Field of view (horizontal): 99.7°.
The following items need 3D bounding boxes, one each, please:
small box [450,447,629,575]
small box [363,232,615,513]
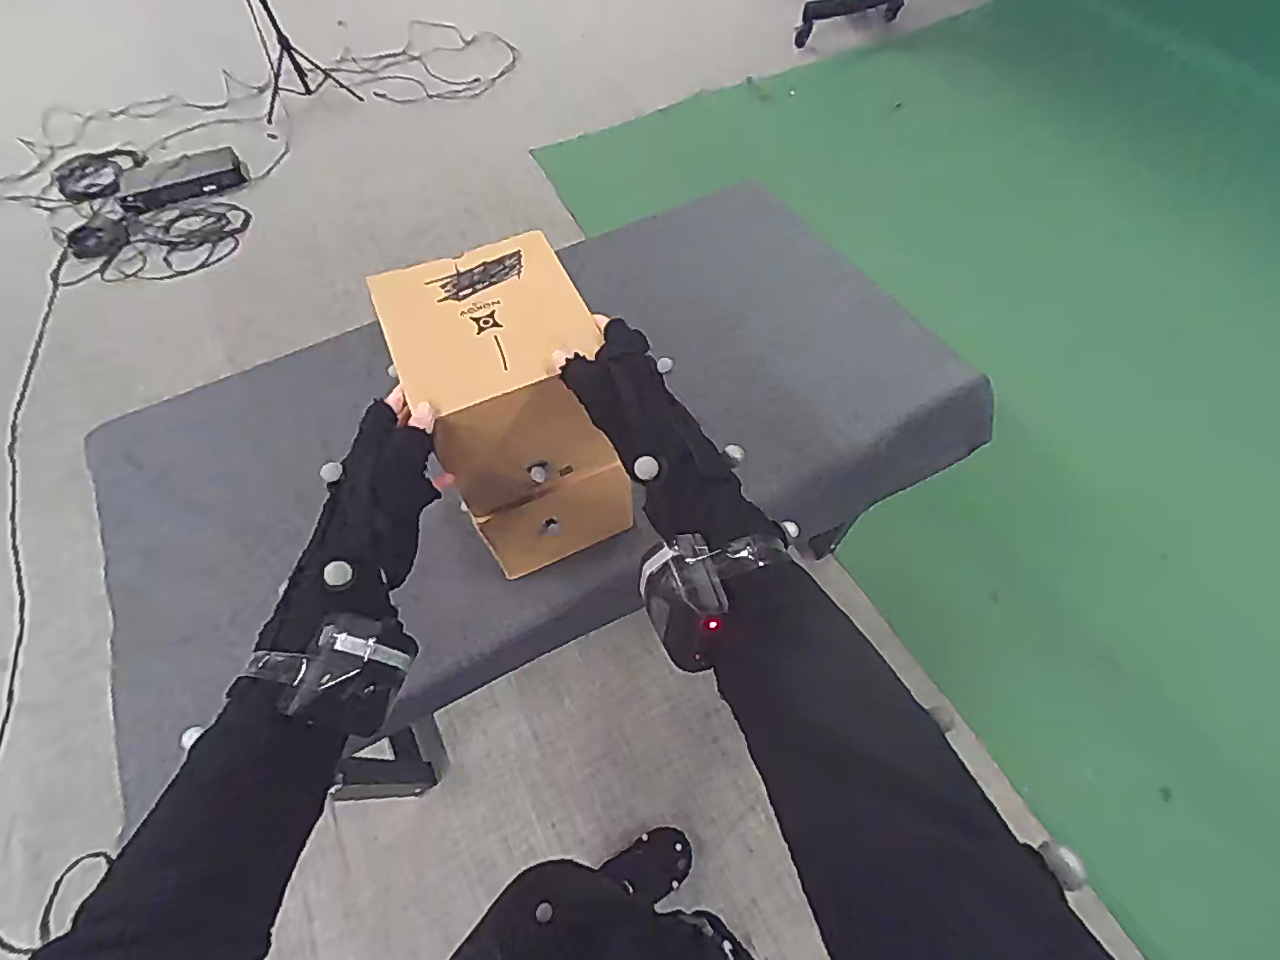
[{"bbox_3d":[-0.126,-0.007,0.666,0.179,0.176,0.168,-24,62,-11],"label":"small box"},{"bbox_3d":[-0.136,-0.100,0.527,0.168,0.176,0.179,-25,62,-13],"label":"small box"}]
